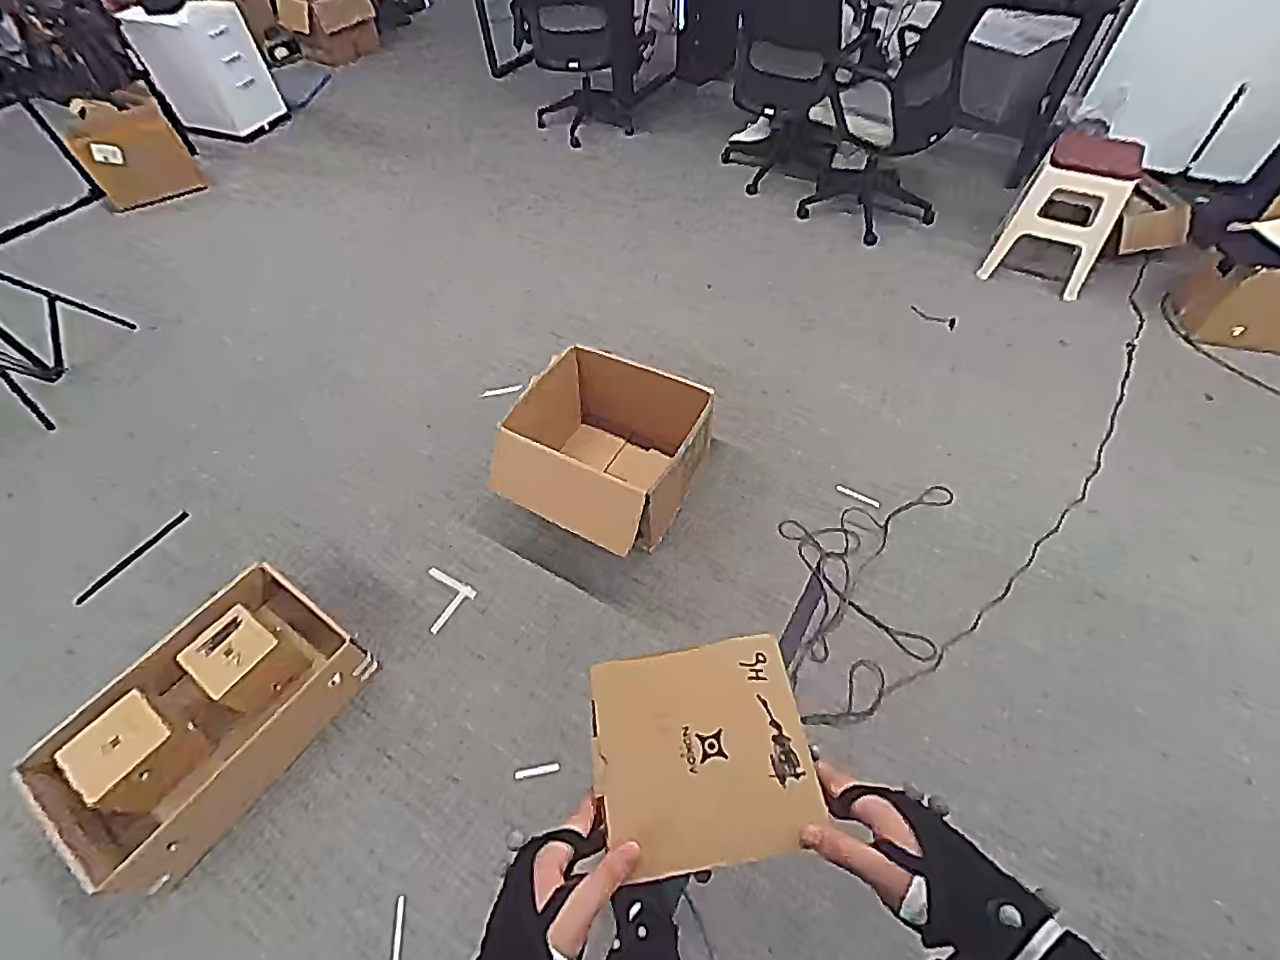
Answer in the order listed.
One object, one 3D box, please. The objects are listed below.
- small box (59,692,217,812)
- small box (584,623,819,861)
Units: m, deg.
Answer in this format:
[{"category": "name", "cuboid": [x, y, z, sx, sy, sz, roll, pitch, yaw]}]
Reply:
[{"category": "small box", "cuboid": [-1.139, 0.629, 1.241, 0.168, 0.176, 0.179, 31, 59, 20]}, {"category": "small box", "cuboid": [0.051, 0.258, 0.527, 0.179, 0.176, 0.168, -10, 57, -2]}]
